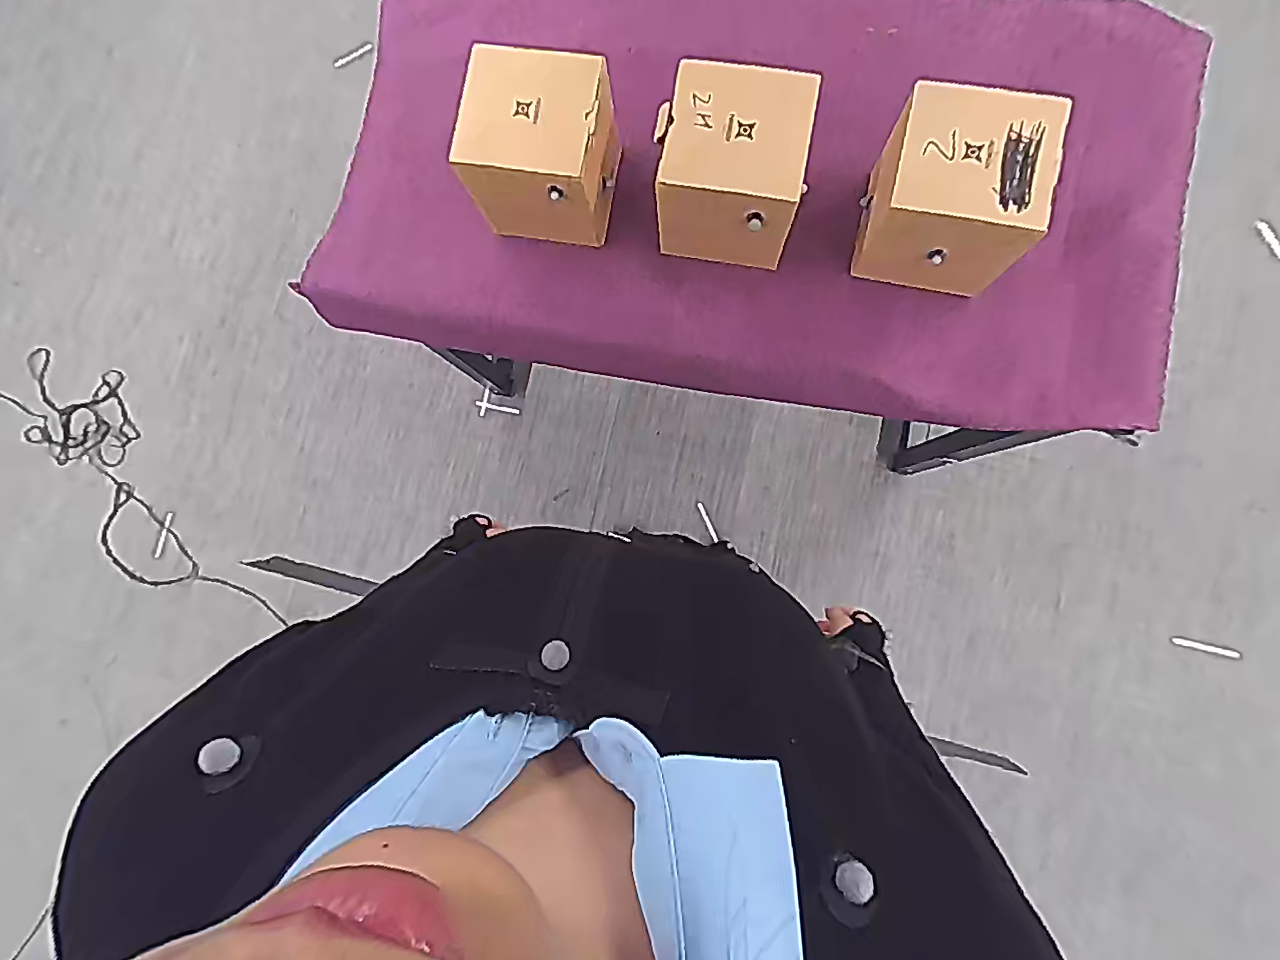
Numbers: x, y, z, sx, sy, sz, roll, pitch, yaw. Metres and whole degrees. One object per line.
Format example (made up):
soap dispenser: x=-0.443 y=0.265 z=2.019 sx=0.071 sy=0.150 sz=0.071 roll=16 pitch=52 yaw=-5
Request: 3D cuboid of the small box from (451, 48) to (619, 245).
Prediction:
small box: x=-0.135 y=-0.455 z=0.759 sx=0.179 sy=0.176 sz=0.168 roll=9 pitch=85 yaw=5

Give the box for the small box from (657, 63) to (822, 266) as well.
small box: x=0.127 y=-0.411 z=0.731 sx=0.179 sy=0.176 sz=0.168 roll=10 pitch=85 yaw=6
